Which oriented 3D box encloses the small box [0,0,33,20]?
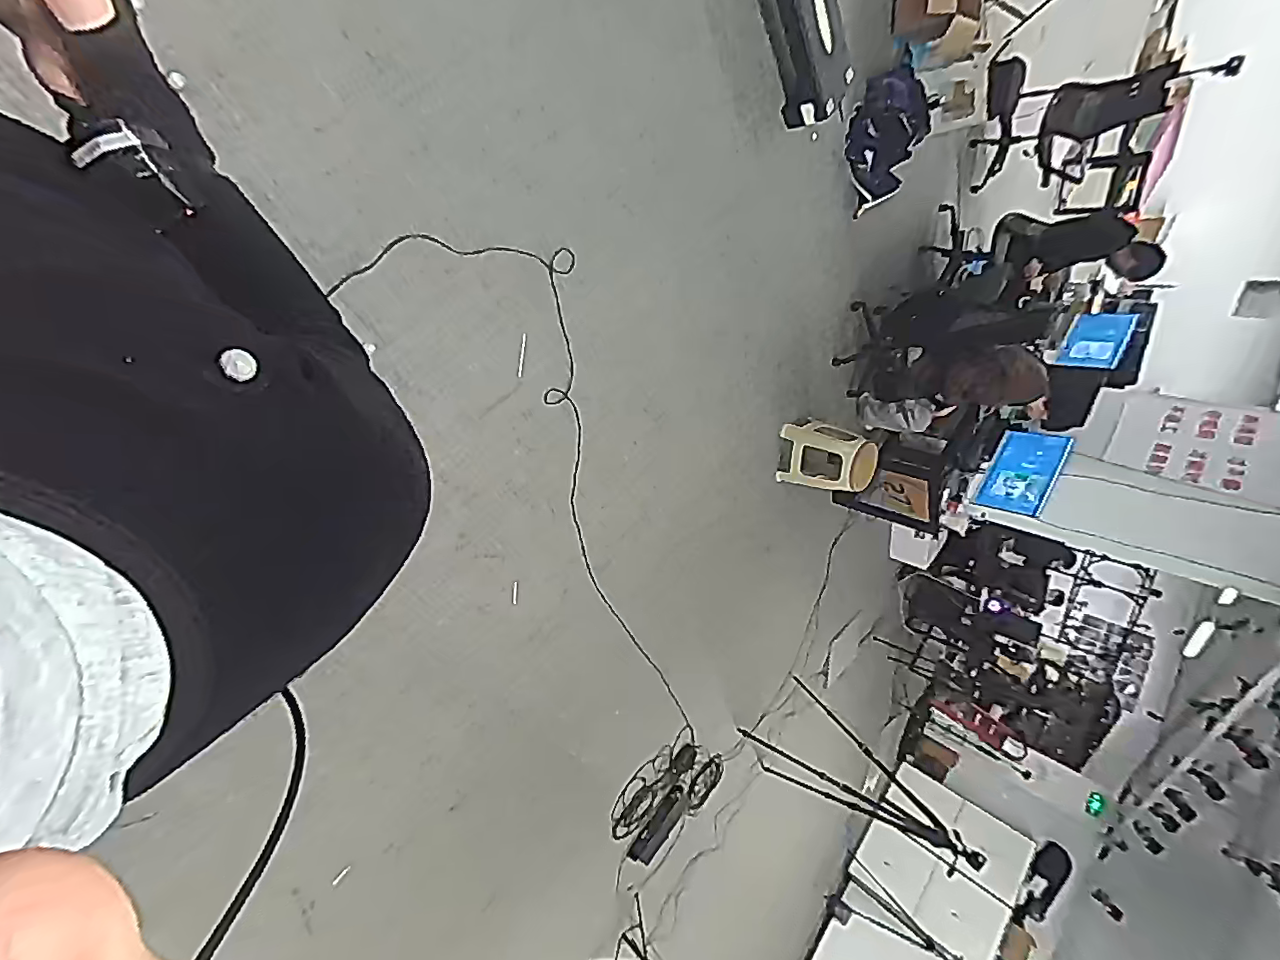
[{"bbox_3d":[-0.423,-0.342,0.243,0.179,0.176,0.168,-14,122,-41],"label":"small box"}]
